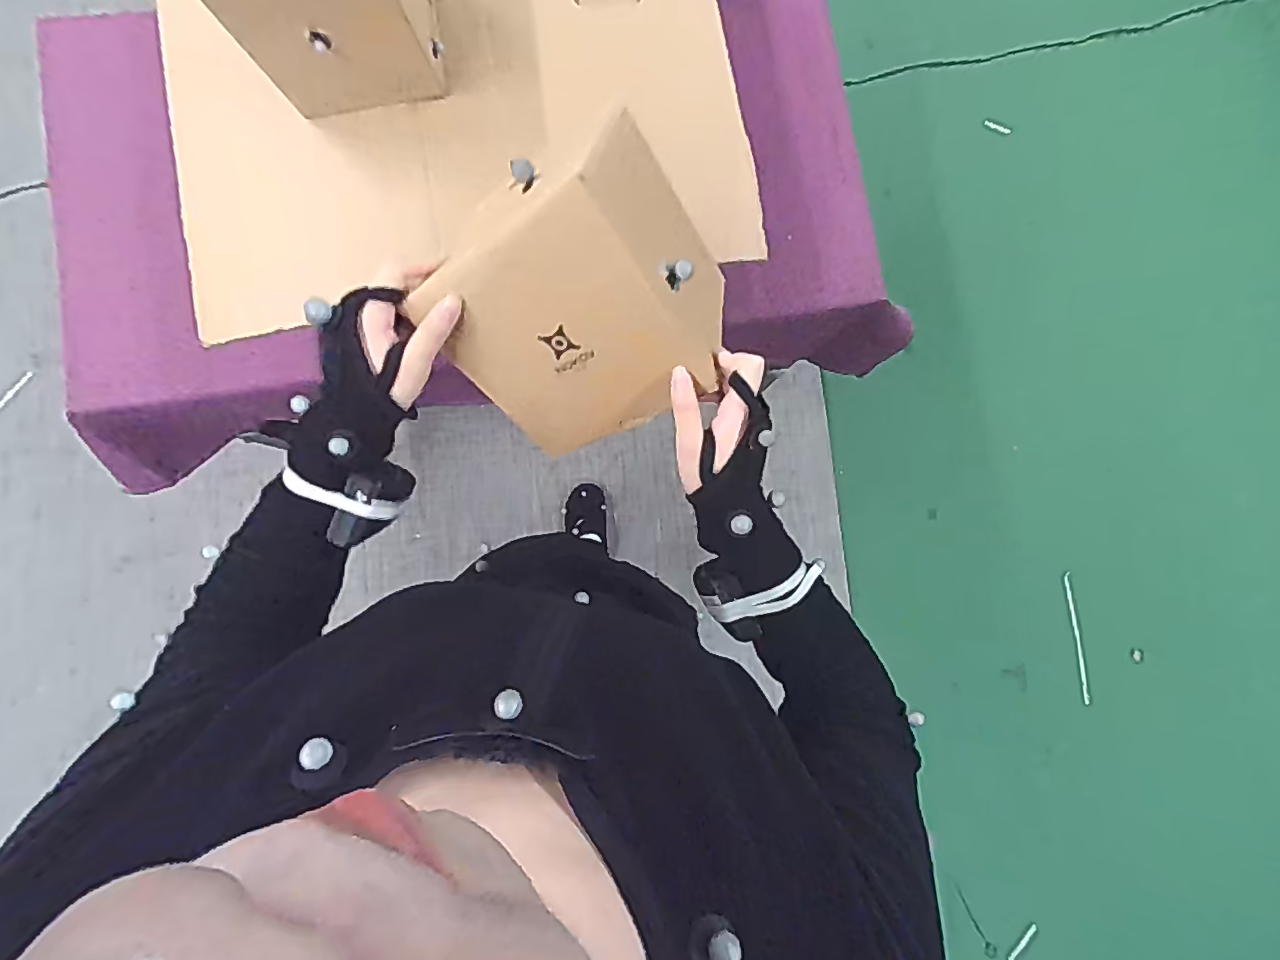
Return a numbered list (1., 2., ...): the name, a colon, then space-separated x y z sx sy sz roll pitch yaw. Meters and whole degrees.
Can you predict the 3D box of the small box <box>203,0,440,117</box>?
1. small box: -0.328 -0.529 0.574 0.179 0.176 0.168 -8 86 3
